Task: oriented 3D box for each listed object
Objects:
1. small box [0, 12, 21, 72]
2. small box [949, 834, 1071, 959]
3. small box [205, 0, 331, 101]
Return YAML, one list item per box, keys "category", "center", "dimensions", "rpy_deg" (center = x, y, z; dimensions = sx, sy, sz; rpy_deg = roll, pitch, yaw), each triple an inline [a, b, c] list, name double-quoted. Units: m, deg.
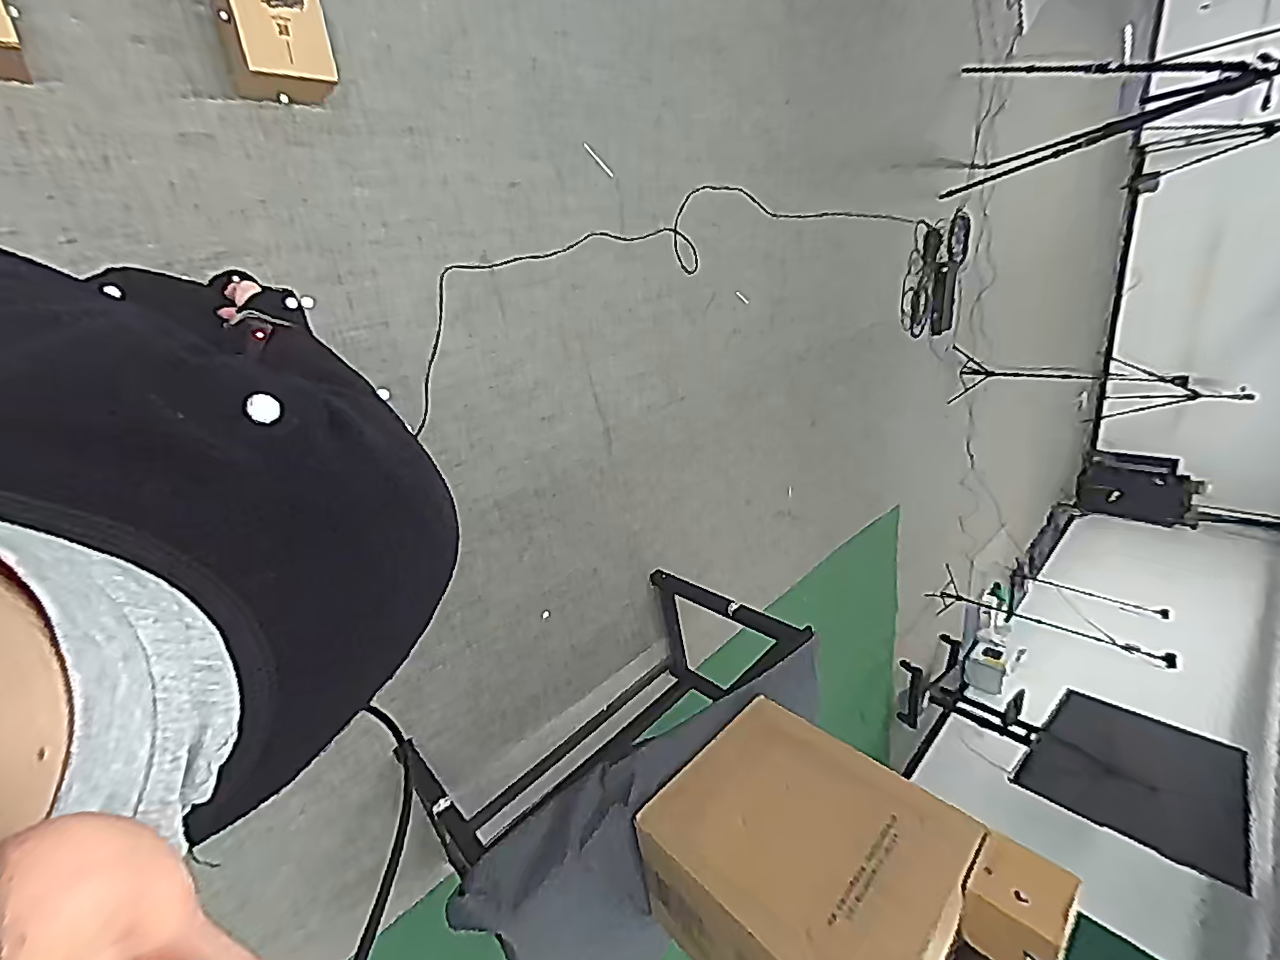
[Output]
- category: "small box"
  center: [-1.126, -0.770, 0.840]
  dimensions: [0.168, 0.176, 0.179]
  rpy_deg: [-22, 116, -37]
- category: "small box"
  center: [0.773, 0.896, 1.139]
  dimensions: [0.168, 0.176, 0.179]
  rpy_deg: [-25, 118, -36]
- category: "small box"
  center: [-0.773, -0.923, 1.122]
  dimensions: [0.168, 0.176, 0.179]
  rpy_deg: [-22, 116, -36]
